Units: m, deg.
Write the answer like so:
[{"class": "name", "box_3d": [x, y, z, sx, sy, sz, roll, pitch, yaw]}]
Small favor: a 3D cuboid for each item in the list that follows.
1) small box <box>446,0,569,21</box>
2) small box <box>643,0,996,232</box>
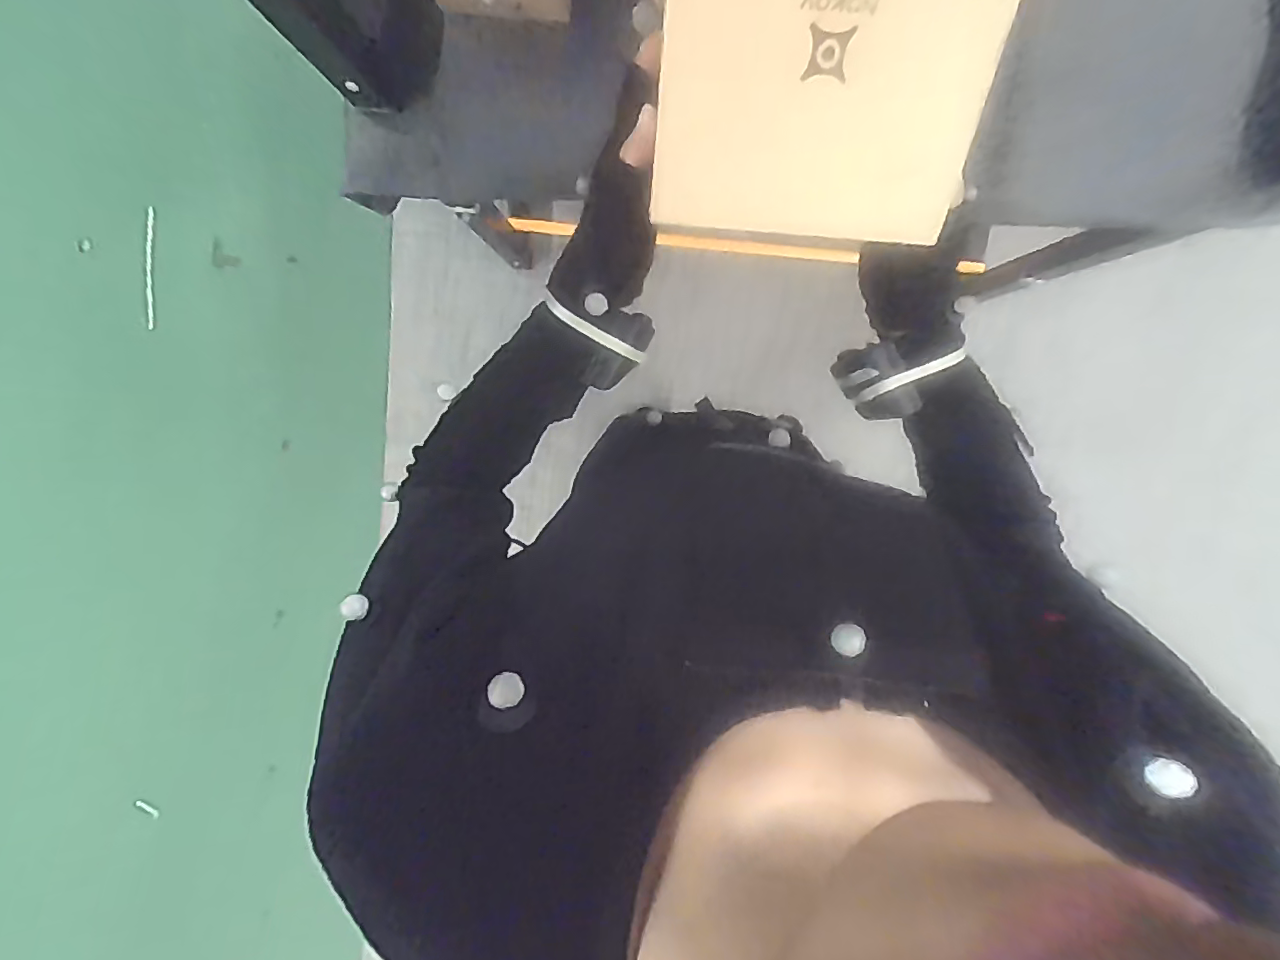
[{"class": "small box", "box_3d": [-0.163, -0.658, 0.585, 0.168, 0.176, 0.179, 6, 98, 0]}, {"class": "small box", "box_3d": [0.094, -0.266, 0.337, 0.168, 0.176, 0.179, 4, 122, 1]}]
